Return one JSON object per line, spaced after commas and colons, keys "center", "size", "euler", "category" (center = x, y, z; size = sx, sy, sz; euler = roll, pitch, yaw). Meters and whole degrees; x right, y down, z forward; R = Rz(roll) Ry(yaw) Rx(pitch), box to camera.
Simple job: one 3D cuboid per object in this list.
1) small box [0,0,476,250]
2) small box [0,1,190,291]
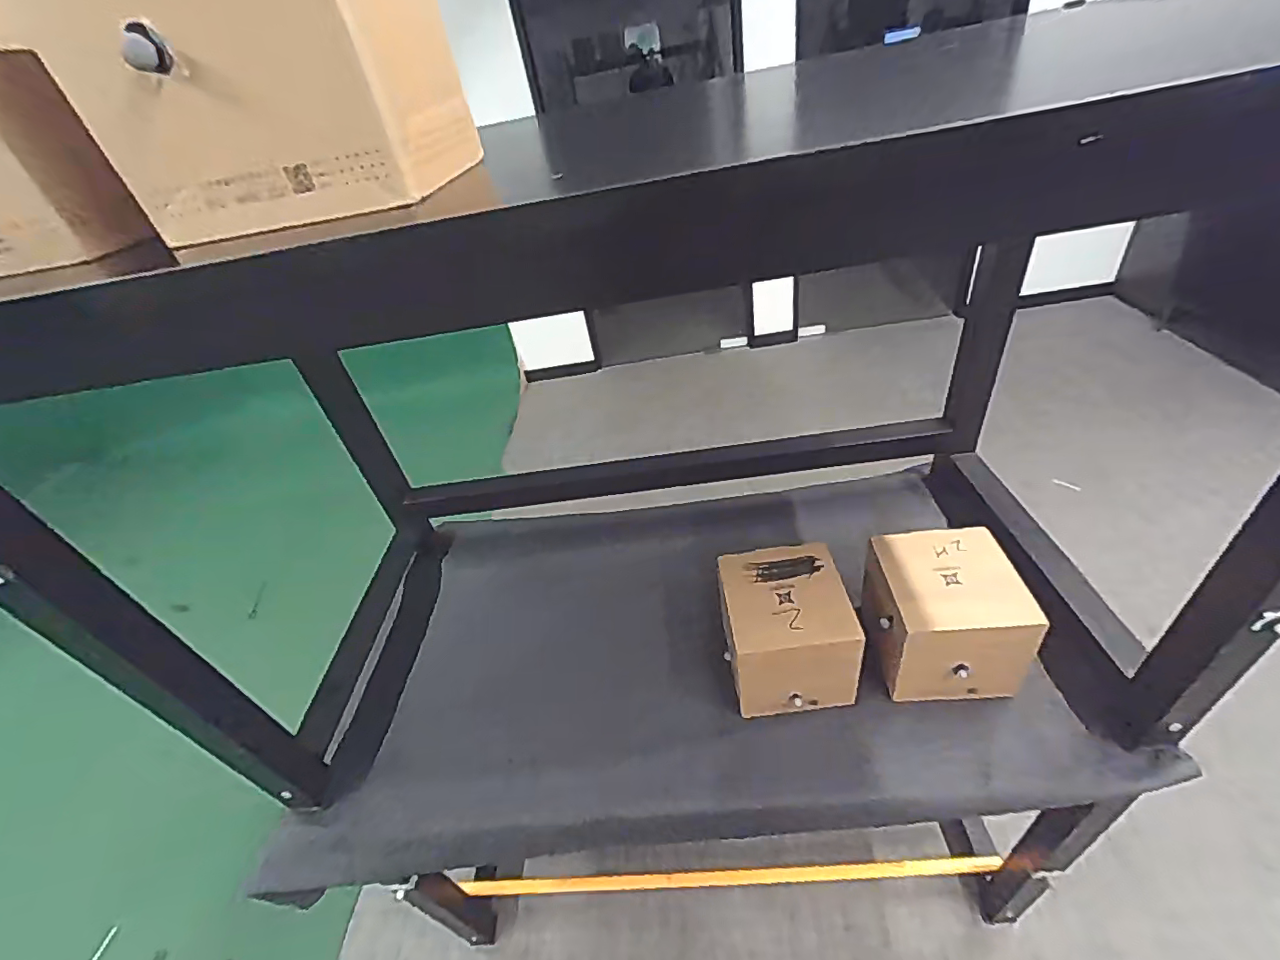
{"center": [-0.228, -0.263, 0.354], "size": [0.168, 0.176, 0.179], "euler": [-7, 37, 7], "category": "small box"}
{"center": [-0.450, -0.246, 0.388], "size": [0.168, 0.176, 0.179], "euler": [-7, 39, 7], "category": "small box"}
